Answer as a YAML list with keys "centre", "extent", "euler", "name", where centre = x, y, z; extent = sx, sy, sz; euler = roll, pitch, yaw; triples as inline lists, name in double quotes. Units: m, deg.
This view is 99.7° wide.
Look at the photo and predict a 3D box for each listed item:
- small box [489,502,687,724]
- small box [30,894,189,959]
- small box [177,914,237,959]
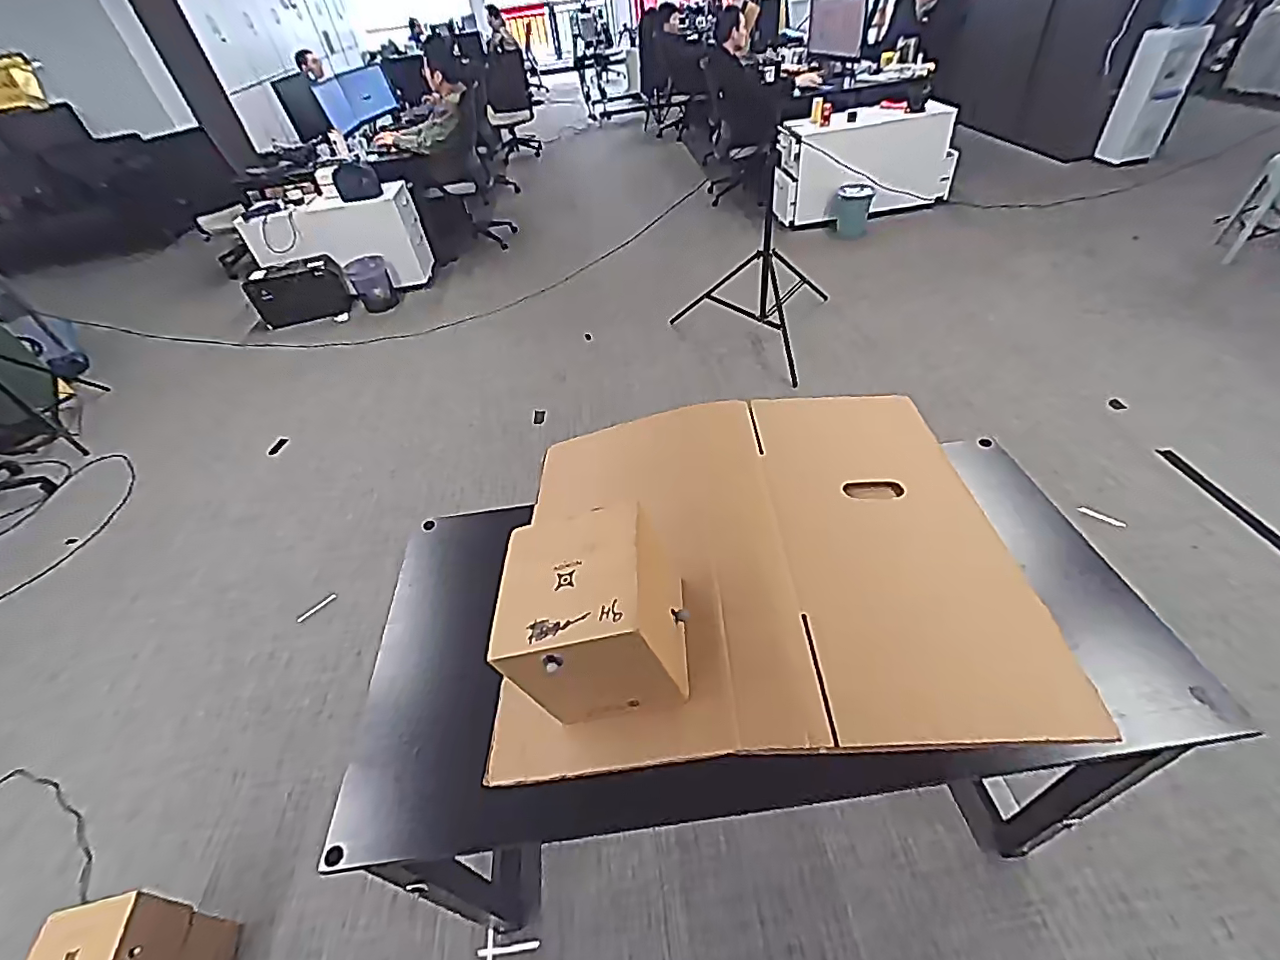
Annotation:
- centre: [-0.049, 0.159, 0.637]
  extent: [0.168, 0.176, 0.179]
  euler: [-16, 41, 14]
  name: "small box"
- centre: [-1.020, 0.932, 1.031]
  extent: [0.168, 0.176, 0.179]
  euler: [-13, 42, -5]
  name: "small box"
- centre: [-1.000, 1.053, 1.138]
  extent: [0.168, 0.176, 0.179]
  euler: [-11, 44, -3]
  name: "small box"
